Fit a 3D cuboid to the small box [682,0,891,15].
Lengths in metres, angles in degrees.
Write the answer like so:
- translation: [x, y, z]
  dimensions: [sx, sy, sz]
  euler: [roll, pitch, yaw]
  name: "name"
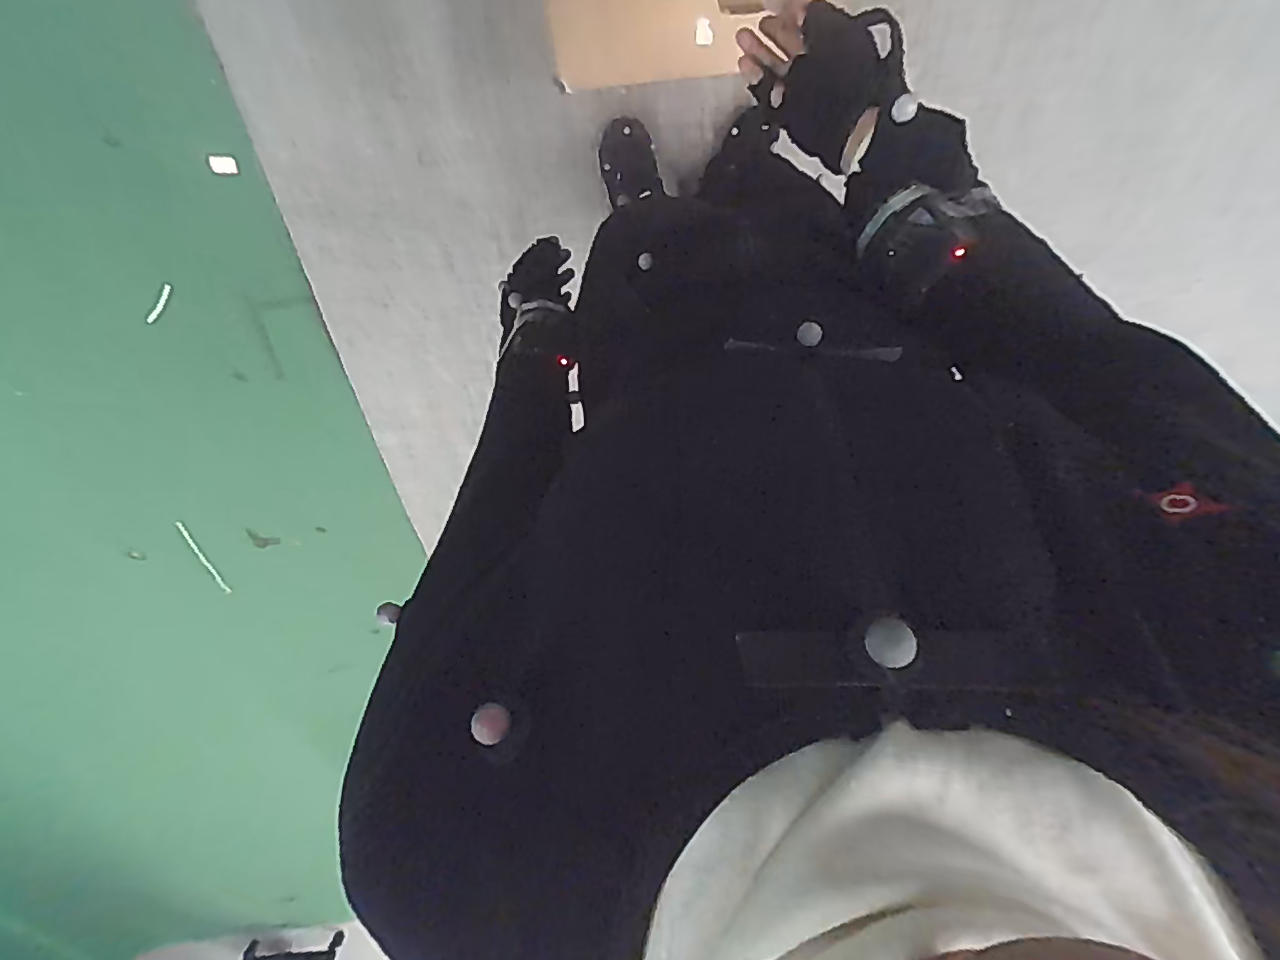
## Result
- translation: [0.108, -0.470, 0.399]
  dimensions: [0.168, 0.176, 0.179]
  euler: [-6, 133, -2]
  name: "small box"
